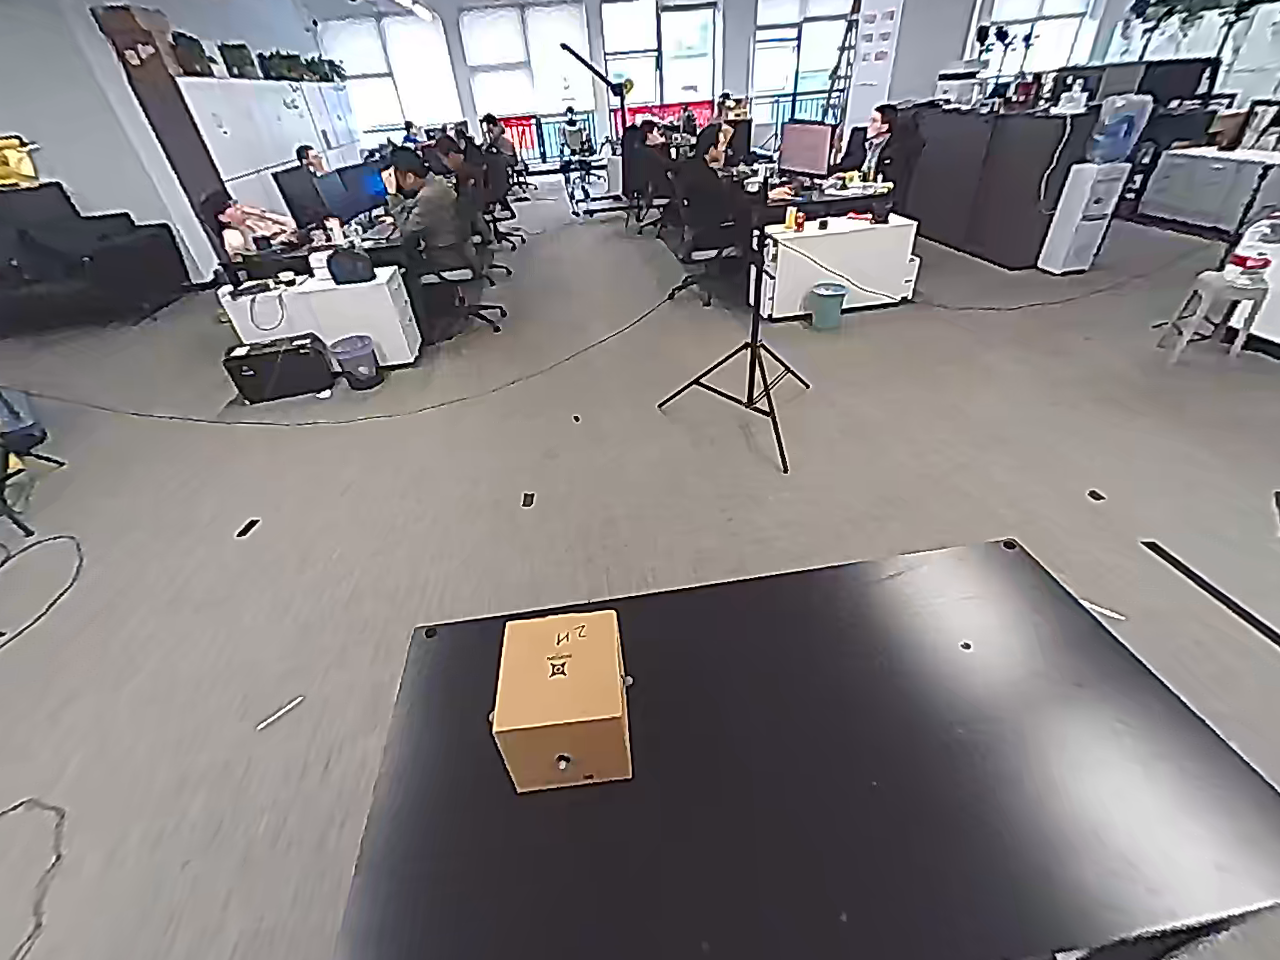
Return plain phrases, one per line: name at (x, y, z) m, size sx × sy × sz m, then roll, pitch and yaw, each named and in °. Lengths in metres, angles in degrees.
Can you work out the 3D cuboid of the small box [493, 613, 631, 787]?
small box at (-0.106, 0.325, 0.793) m, size 0.168 × 0.176 × 0.179 m, roll -6°, pitch 35°, yaw -2°
